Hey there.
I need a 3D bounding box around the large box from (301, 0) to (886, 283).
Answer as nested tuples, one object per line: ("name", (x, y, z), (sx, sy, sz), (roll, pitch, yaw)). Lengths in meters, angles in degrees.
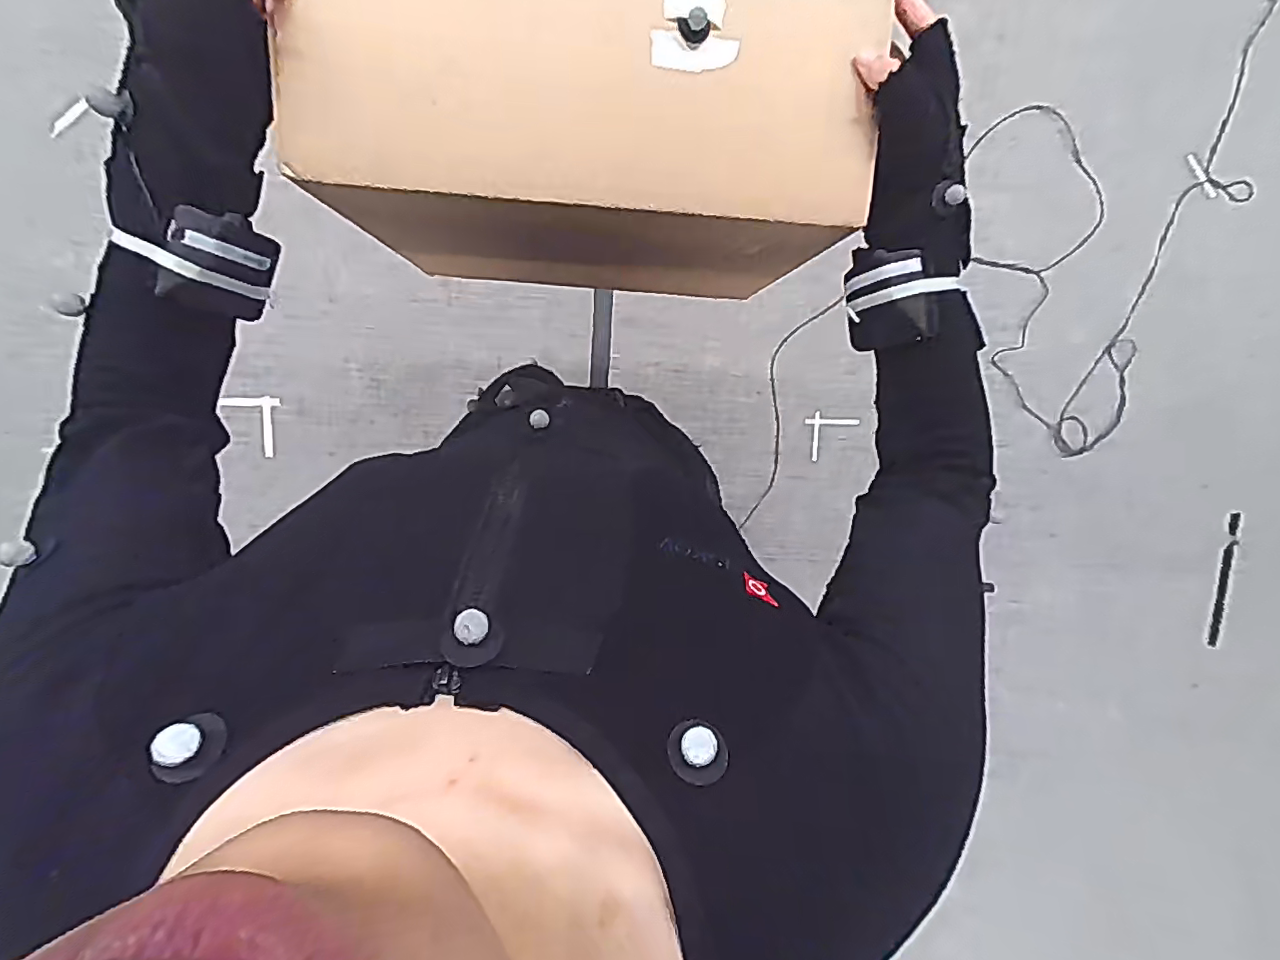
("large box", (-0.037, -0.381, 0.509), (0.408, 0.320, 0.320), (2, 100, -5))
